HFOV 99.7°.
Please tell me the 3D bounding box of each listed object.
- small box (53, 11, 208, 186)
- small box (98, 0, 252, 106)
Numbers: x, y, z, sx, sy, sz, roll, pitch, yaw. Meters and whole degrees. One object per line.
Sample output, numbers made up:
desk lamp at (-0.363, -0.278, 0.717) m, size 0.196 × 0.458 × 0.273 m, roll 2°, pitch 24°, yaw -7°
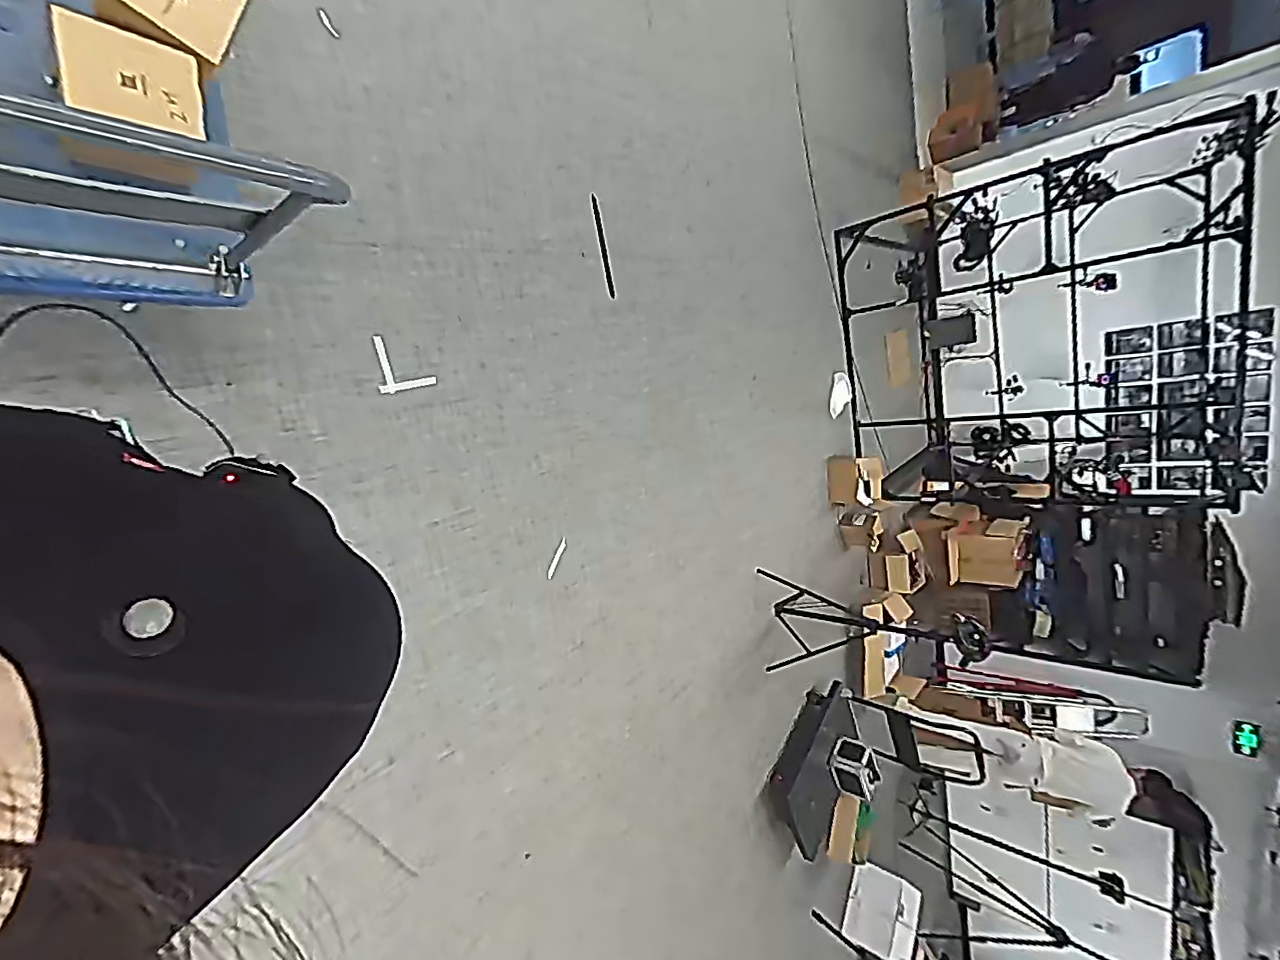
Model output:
small box at (-0.884, -0.643, 0.942) m, size 0.179 × 0.176 × 0.168 m, roll -8°, pitch 96°, yaw -47°
small box at (-0.846, -0.841, 0.982) m, size 0.168 × 0.176 × 0.179 m, roll 23°, pitch 74°, yaw -45°
